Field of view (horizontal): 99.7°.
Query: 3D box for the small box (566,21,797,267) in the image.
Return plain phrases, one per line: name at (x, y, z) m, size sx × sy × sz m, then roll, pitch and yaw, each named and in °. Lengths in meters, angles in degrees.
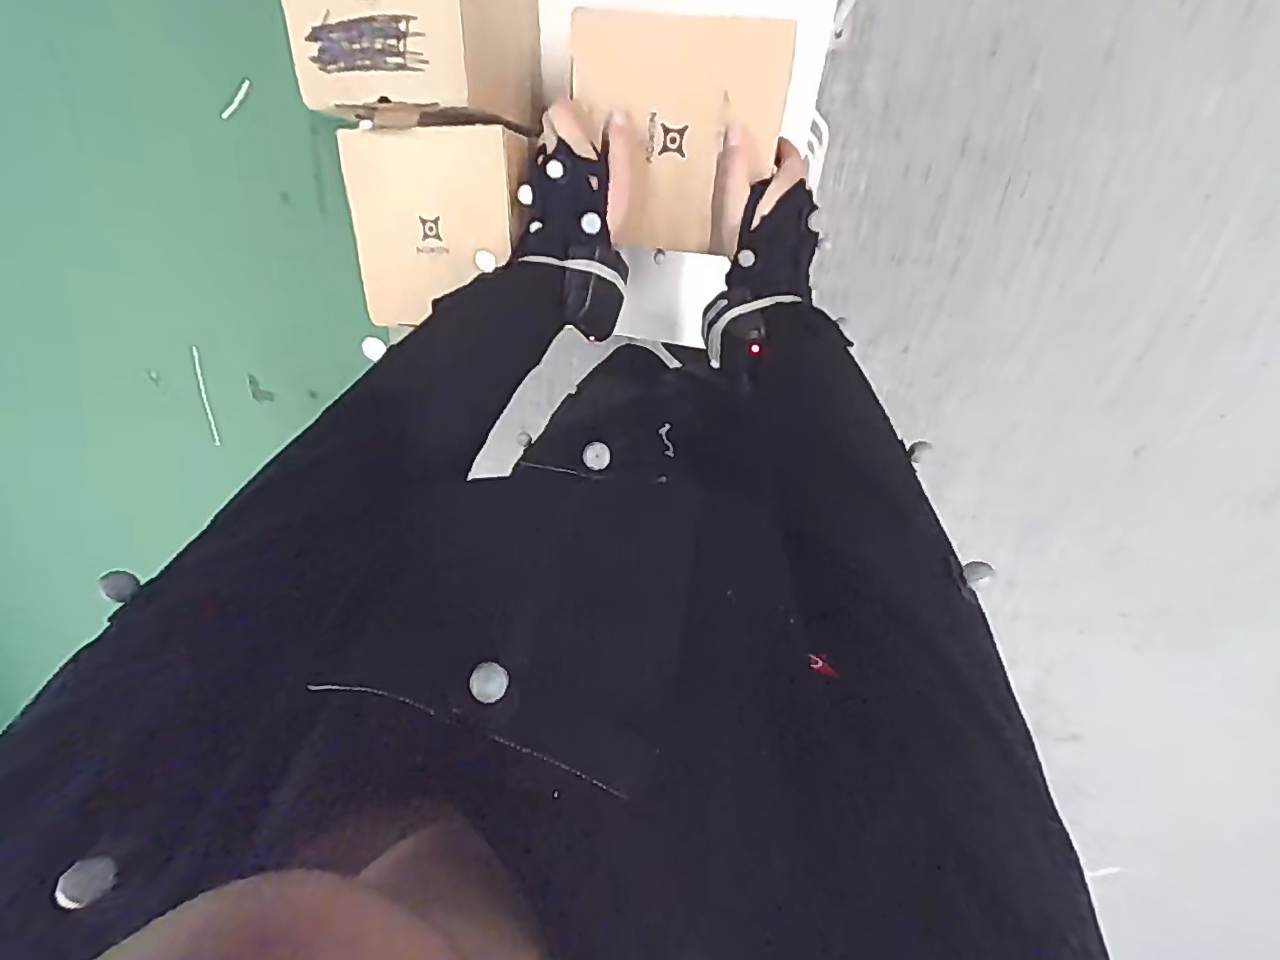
small box at (0.042, -0.303, 0.513) m, size 0.179 × 0.176 × 0.168 m, roll 10°, pitch 117°, yaw 9°
